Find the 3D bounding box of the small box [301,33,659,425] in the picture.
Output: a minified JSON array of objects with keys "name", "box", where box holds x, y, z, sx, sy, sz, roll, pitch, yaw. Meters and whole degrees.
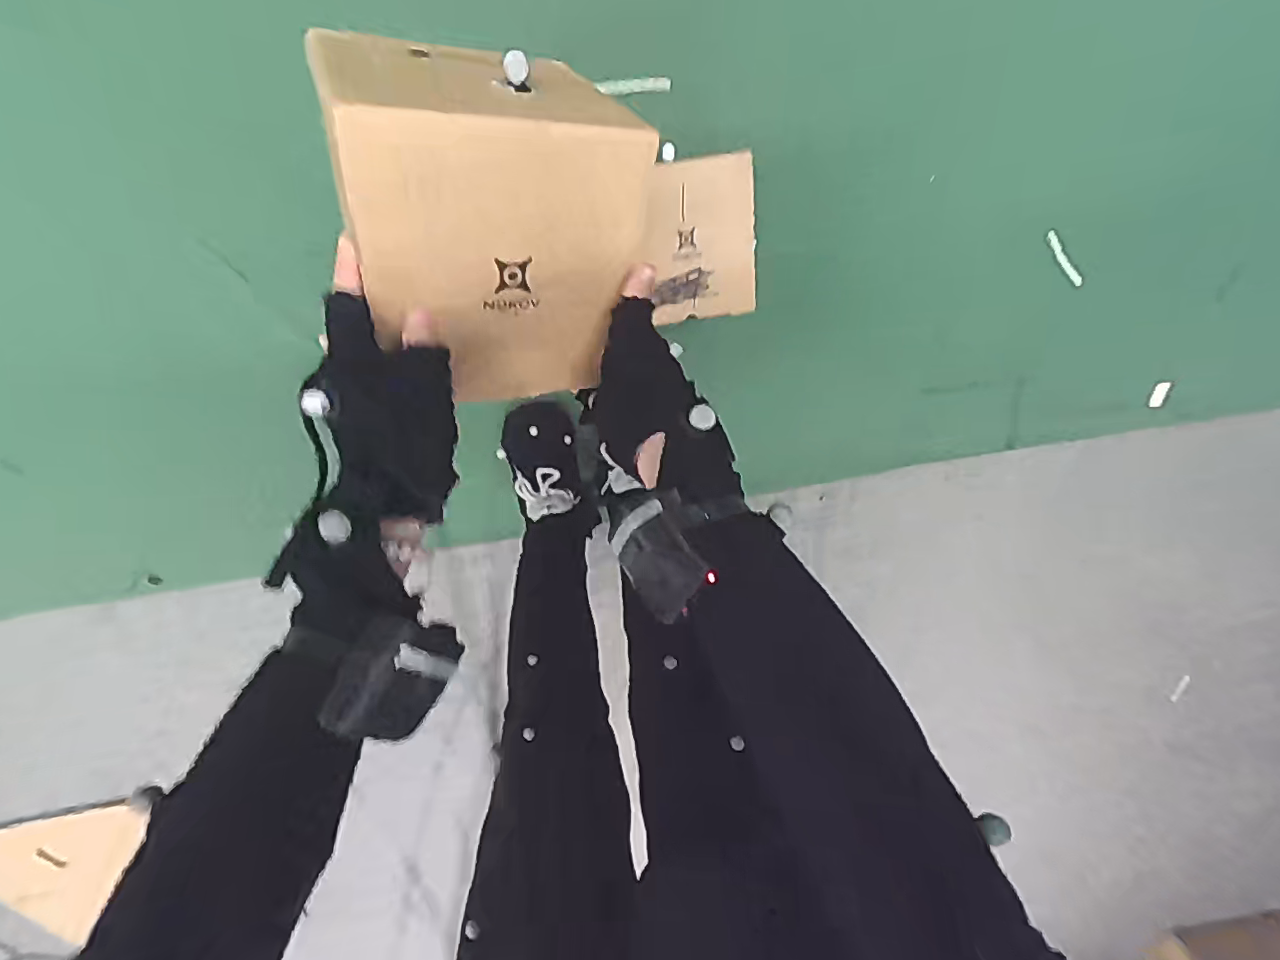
[{"name":"small box","box":[-0.111,-0.167,0.364,0.168,0.176,0.179,-13,143,-25]}]
